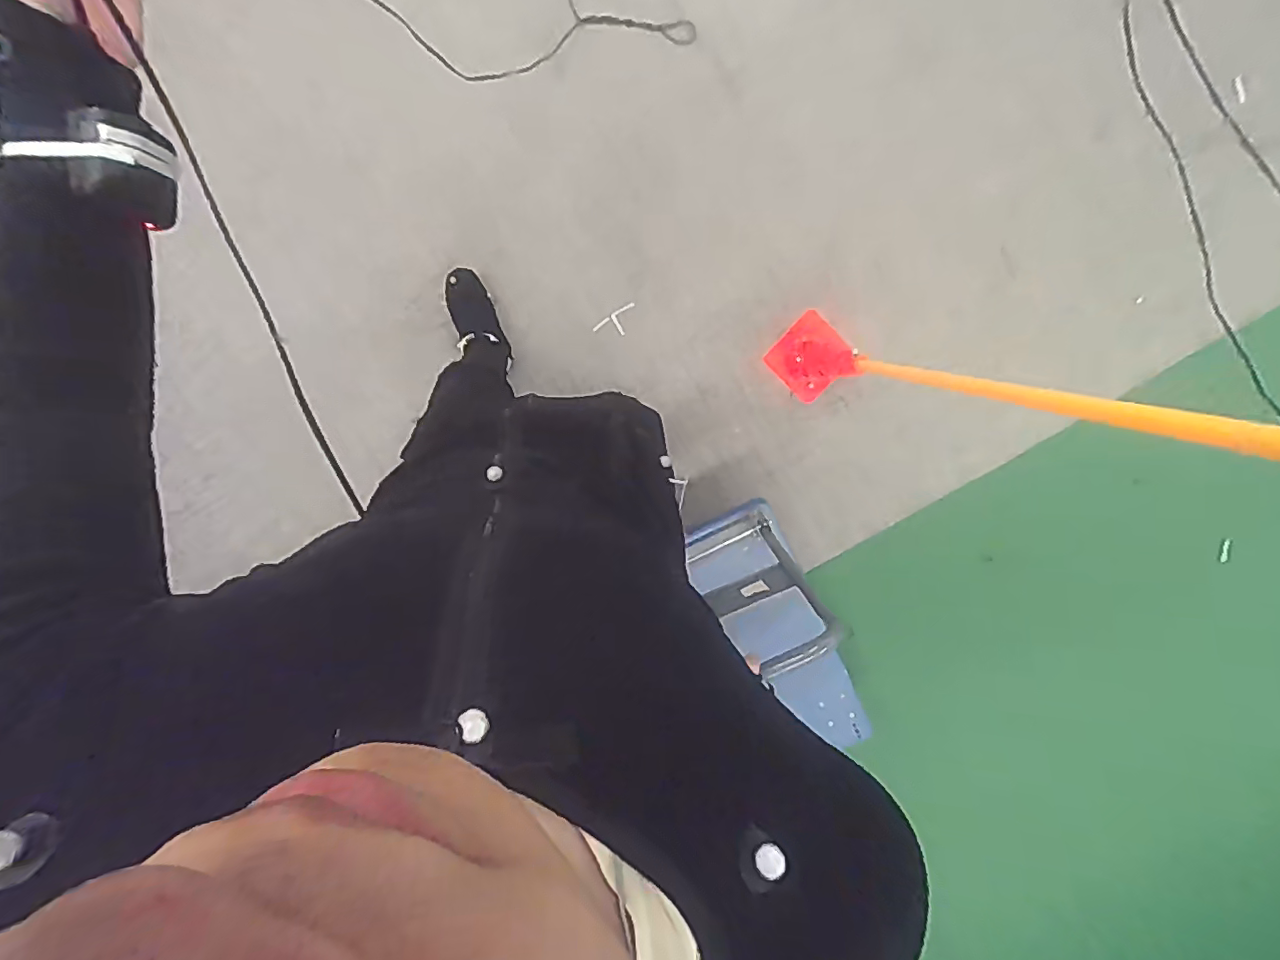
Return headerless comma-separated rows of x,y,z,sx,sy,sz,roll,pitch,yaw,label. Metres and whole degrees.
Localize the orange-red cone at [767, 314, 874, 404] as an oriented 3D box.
0.495,-0.300,1.375,0.198,0.360,0.199,43,98,-13,orange-red cone
